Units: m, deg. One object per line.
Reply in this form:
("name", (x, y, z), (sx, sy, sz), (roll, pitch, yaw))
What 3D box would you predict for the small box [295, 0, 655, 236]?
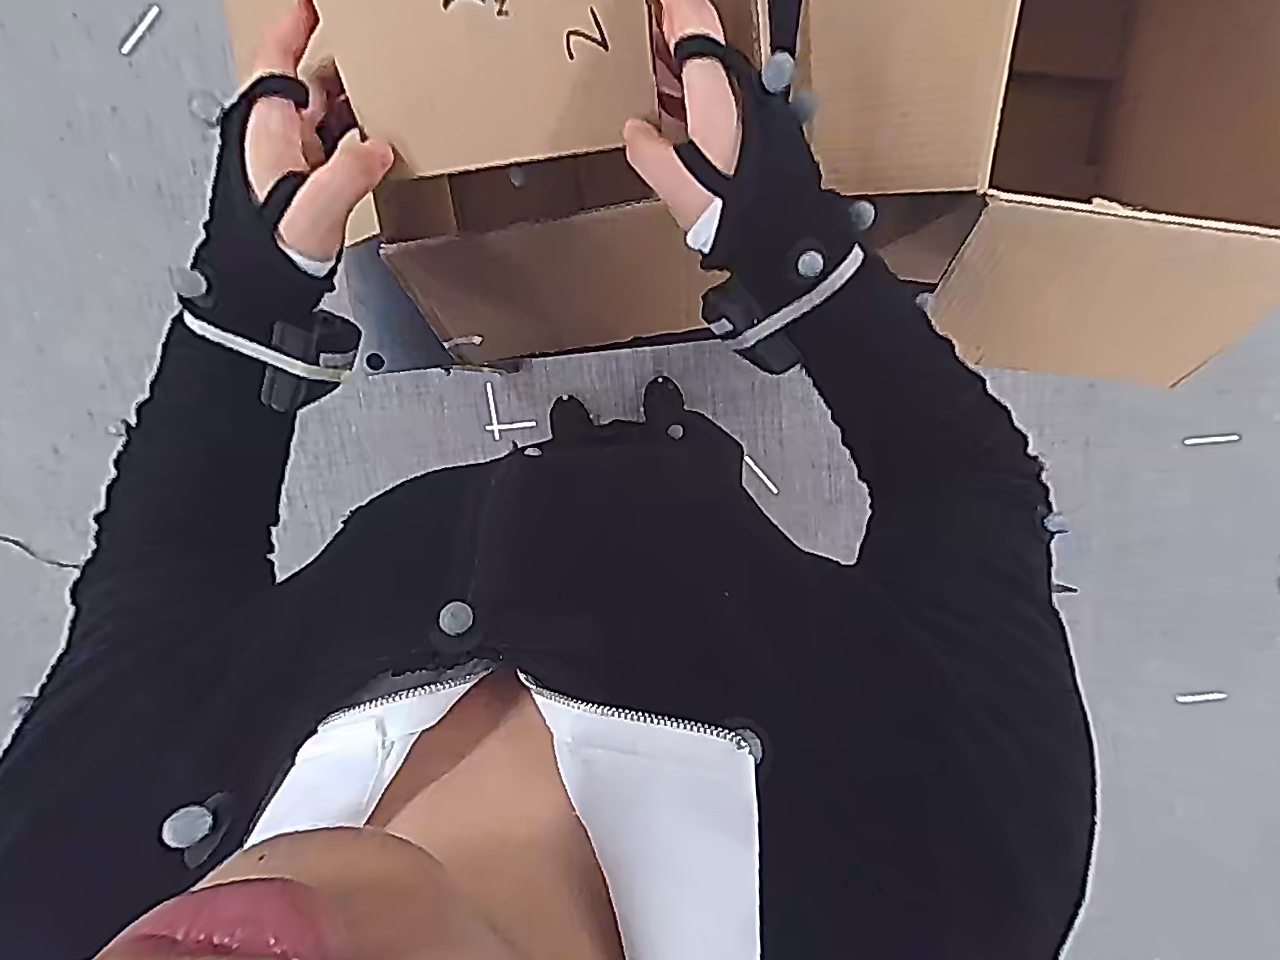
("small box", (-0.085, -0.270, 0.355), (0.179, 0.176, 0.168), (-4, 125, 5))
